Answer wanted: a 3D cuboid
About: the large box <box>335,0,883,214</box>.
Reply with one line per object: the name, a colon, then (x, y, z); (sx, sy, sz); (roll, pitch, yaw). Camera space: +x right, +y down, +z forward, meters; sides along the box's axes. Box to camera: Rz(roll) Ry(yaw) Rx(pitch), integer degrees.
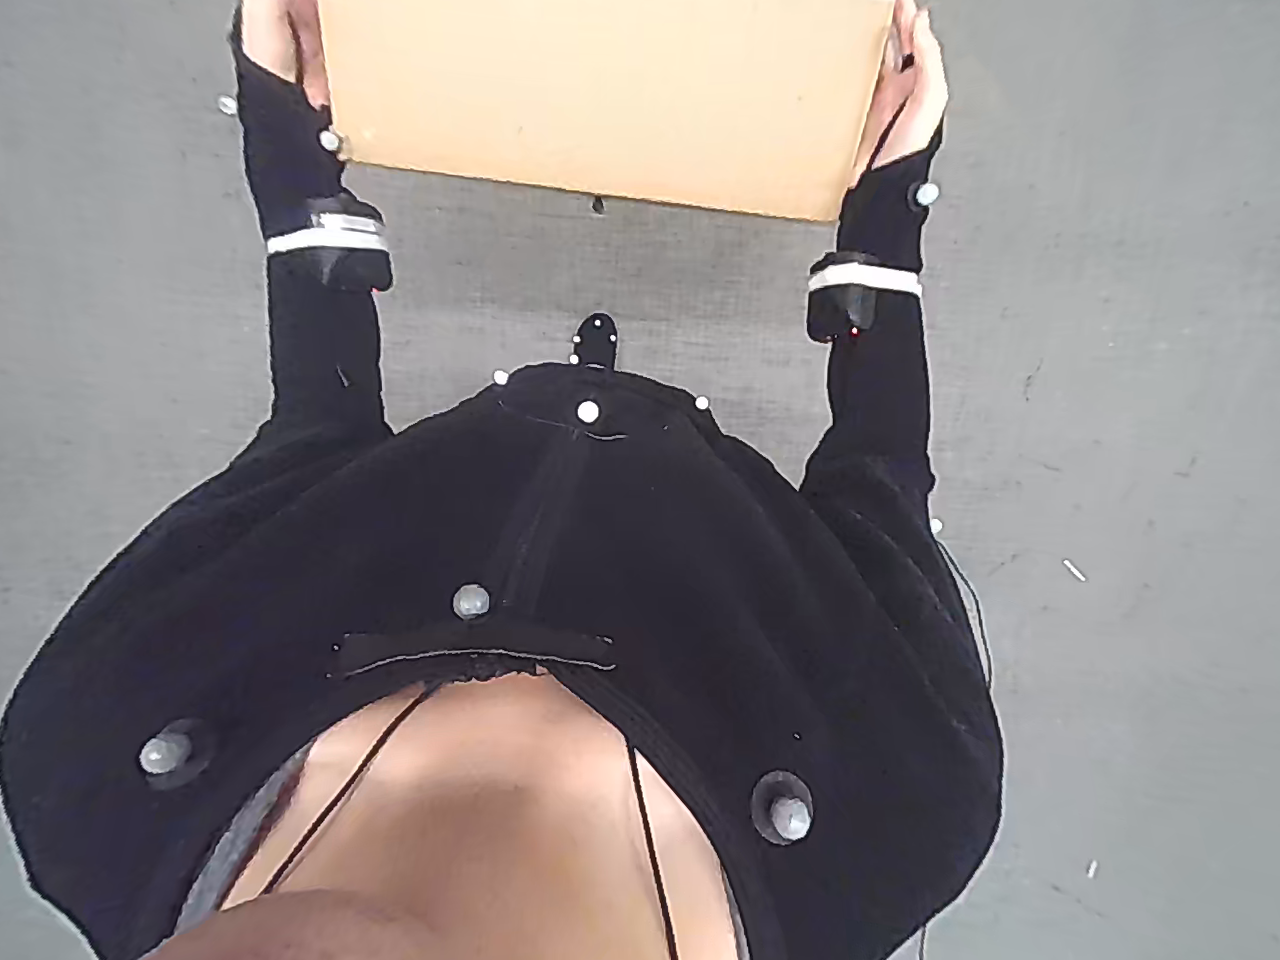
large box: (-0.022, -0.450, 0.505); (0.408, 0.320, 0.320); (4, 118, -7)
